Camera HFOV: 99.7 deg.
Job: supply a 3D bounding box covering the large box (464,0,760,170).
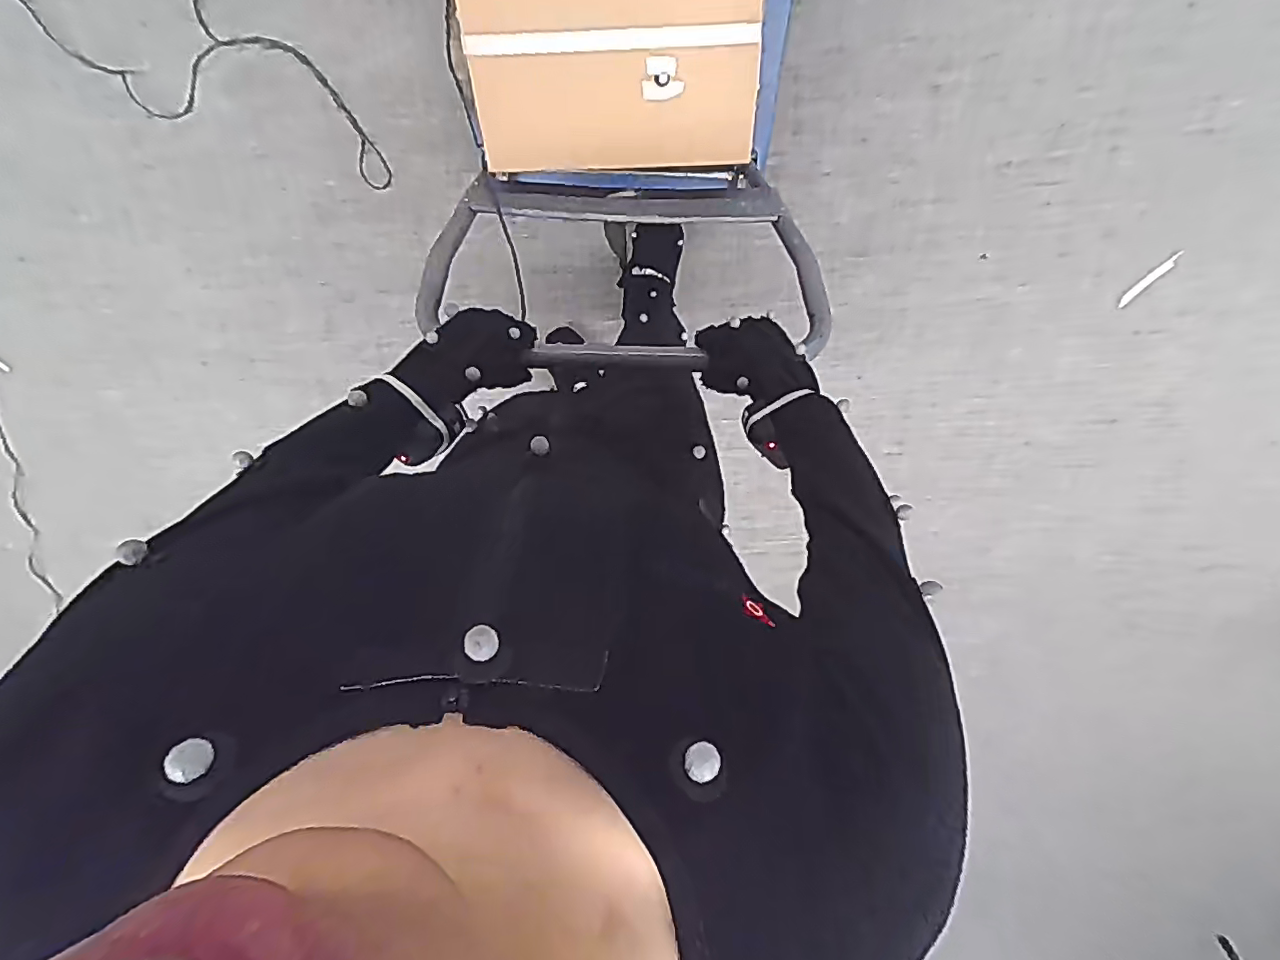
[{"bbox_3d":[-0.042,-0.710,0.856,0.408,0.320,0.320,-3,132,-1],"label":"large box"}]
